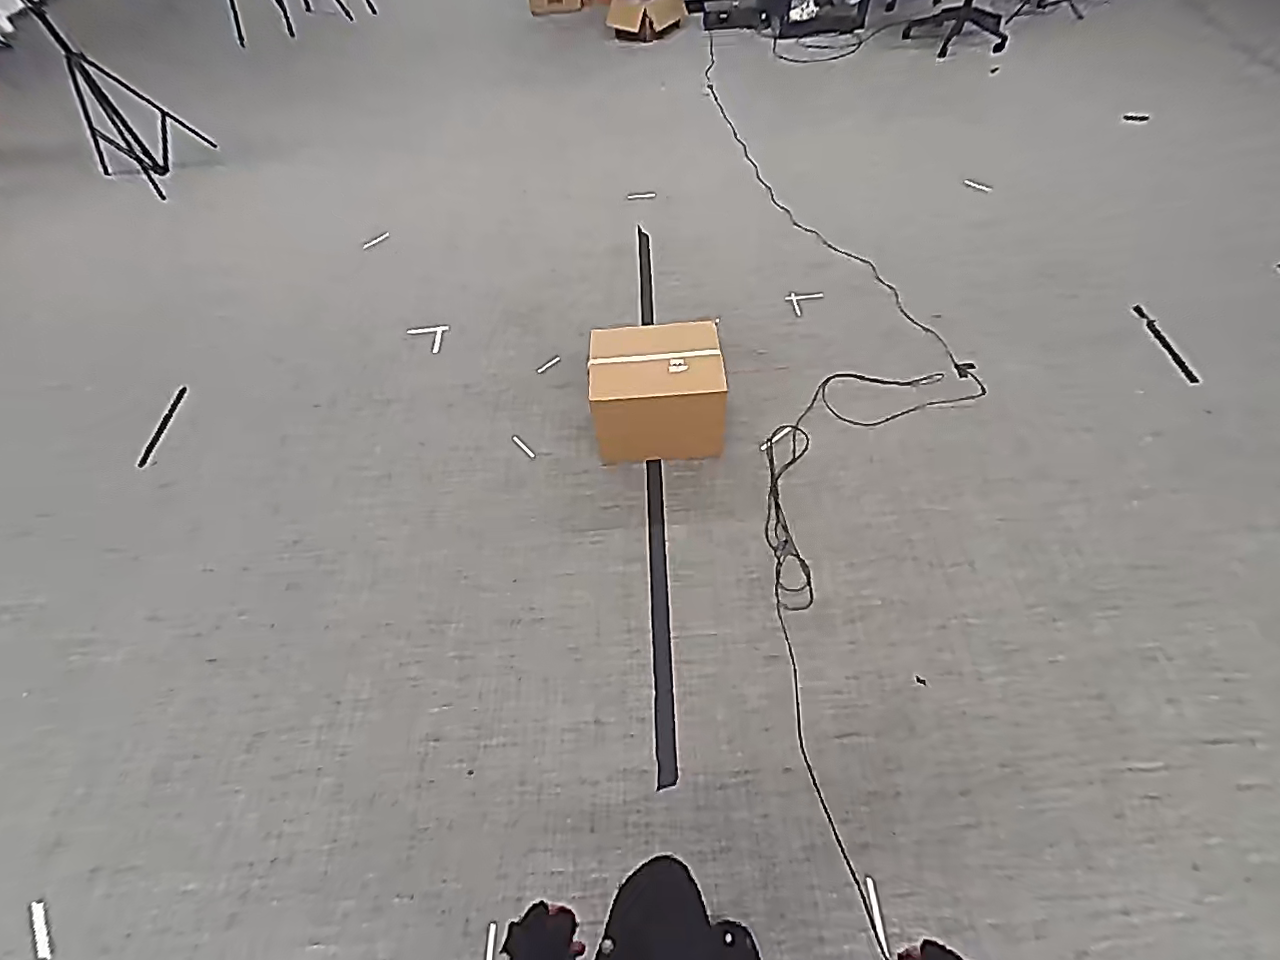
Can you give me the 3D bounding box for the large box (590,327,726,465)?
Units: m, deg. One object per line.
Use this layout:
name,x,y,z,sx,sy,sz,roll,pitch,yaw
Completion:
large box,0.054,-0.269,1.776,0.408,0.320,0.320,-4,55,2
